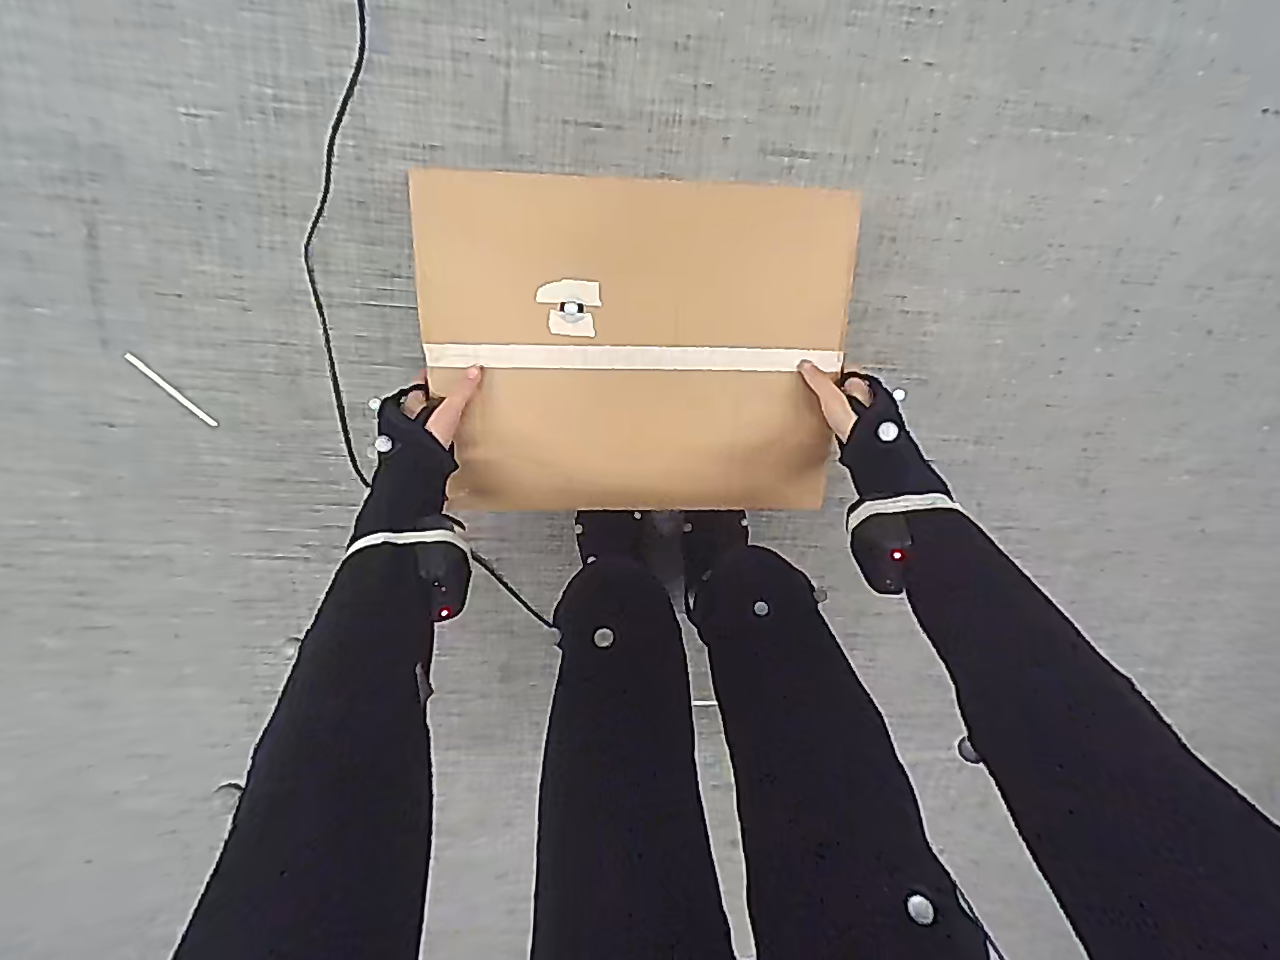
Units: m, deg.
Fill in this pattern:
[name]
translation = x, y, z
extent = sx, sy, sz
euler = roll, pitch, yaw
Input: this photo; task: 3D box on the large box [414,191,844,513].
[large box]
translation = -0.014, -0.160, 0.678
extent = 0.408, 0.320, 0.320
euler = 0, 107, -4
